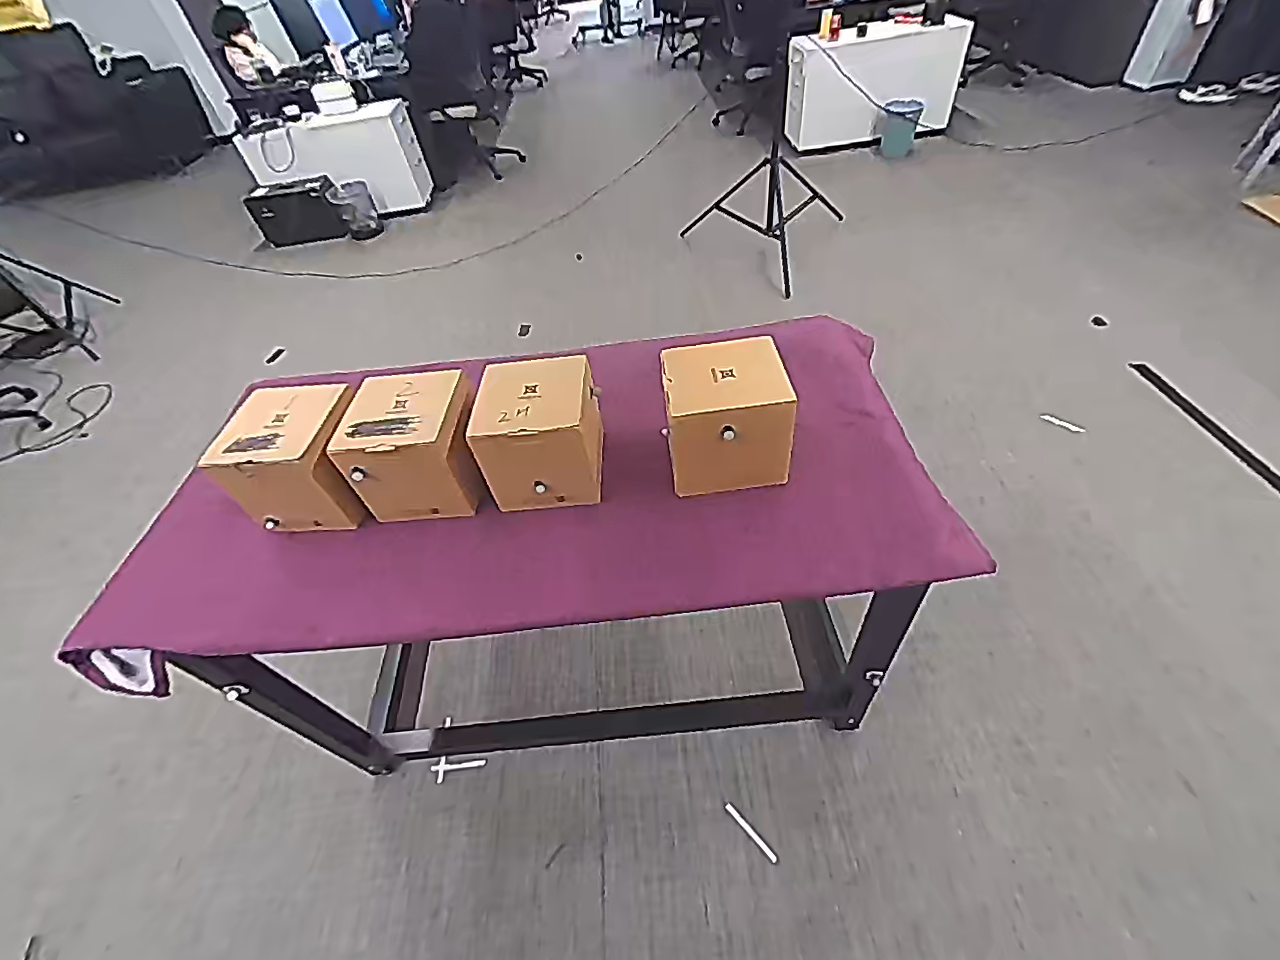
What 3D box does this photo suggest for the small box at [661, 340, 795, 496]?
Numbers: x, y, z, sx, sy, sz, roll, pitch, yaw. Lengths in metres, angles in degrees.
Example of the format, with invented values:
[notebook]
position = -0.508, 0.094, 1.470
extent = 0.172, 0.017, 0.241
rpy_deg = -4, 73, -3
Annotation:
[small box]
position = 0.131, -0.094, 0.849
extent = 0.179, 0.176, 0.168
rpy_deg = -8, 46, 3
